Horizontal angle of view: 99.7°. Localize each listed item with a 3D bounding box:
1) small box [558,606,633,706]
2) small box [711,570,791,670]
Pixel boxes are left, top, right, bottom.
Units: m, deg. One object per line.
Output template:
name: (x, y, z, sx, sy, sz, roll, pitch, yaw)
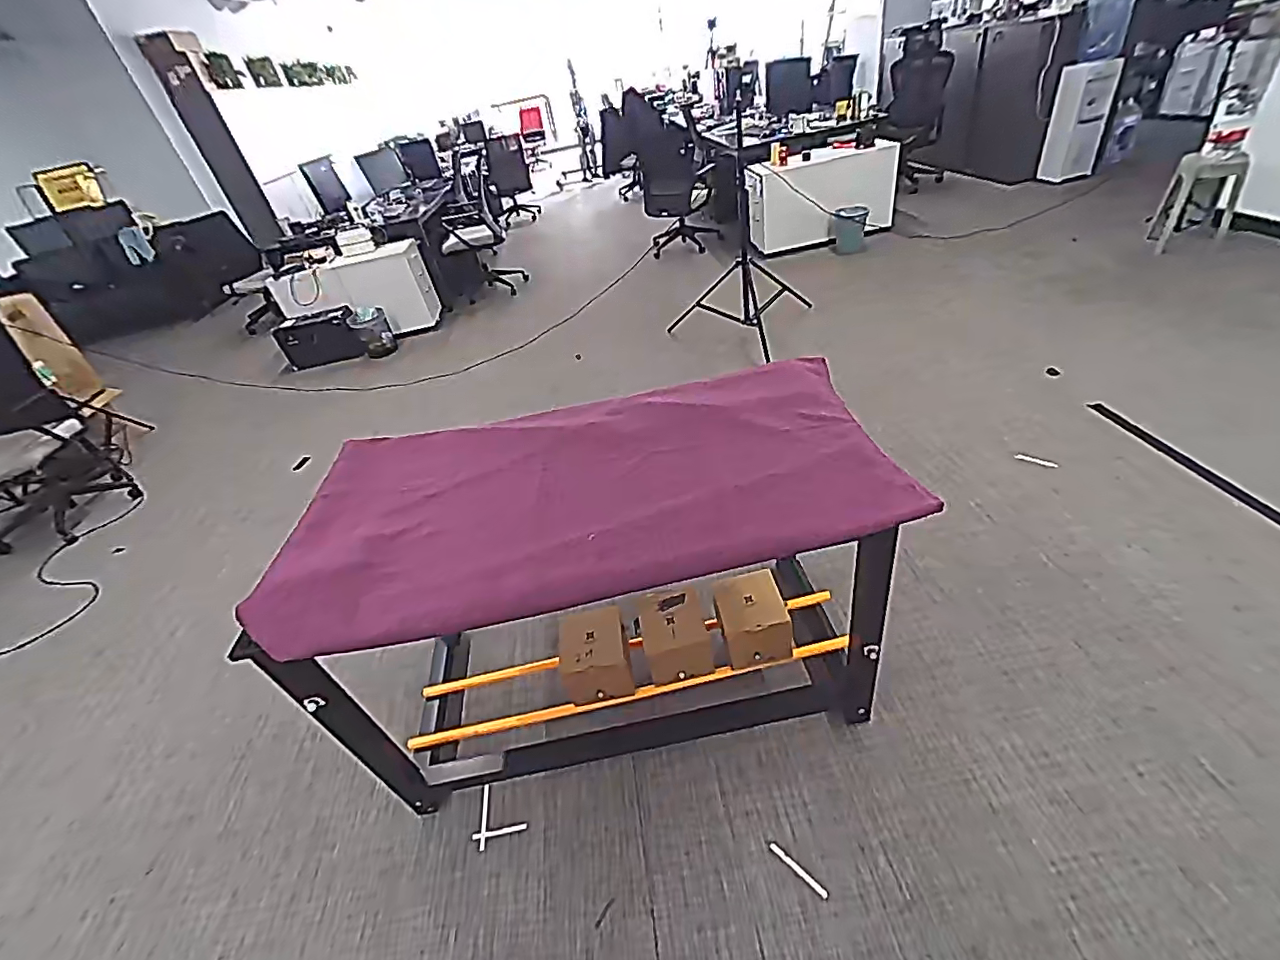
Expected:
small box: (-0.117, 0.467, 1.434, 0.168, 0.176, 0.179, -12, 40, 1)
small box: (0.292, 0.371, 1.435, 0.168, 0.176, 0.179, -14, 39, 0)
